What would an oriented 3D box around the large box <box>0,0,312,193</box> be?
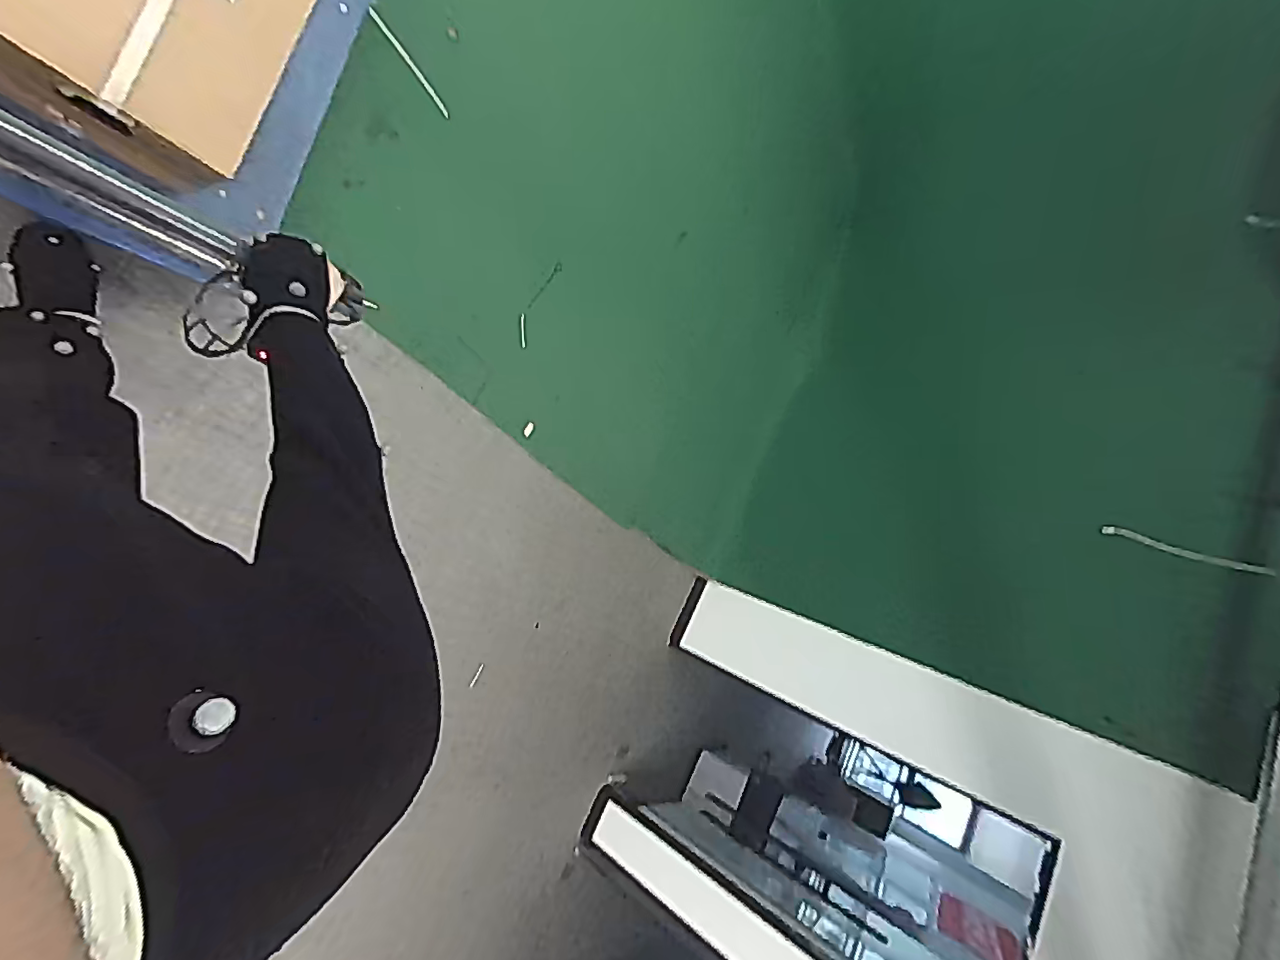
[{"bbox_3d":[-0.793,-0.748,0.863,0.320,0.320,0.408,27,81,-53],"label":"large box"}]
